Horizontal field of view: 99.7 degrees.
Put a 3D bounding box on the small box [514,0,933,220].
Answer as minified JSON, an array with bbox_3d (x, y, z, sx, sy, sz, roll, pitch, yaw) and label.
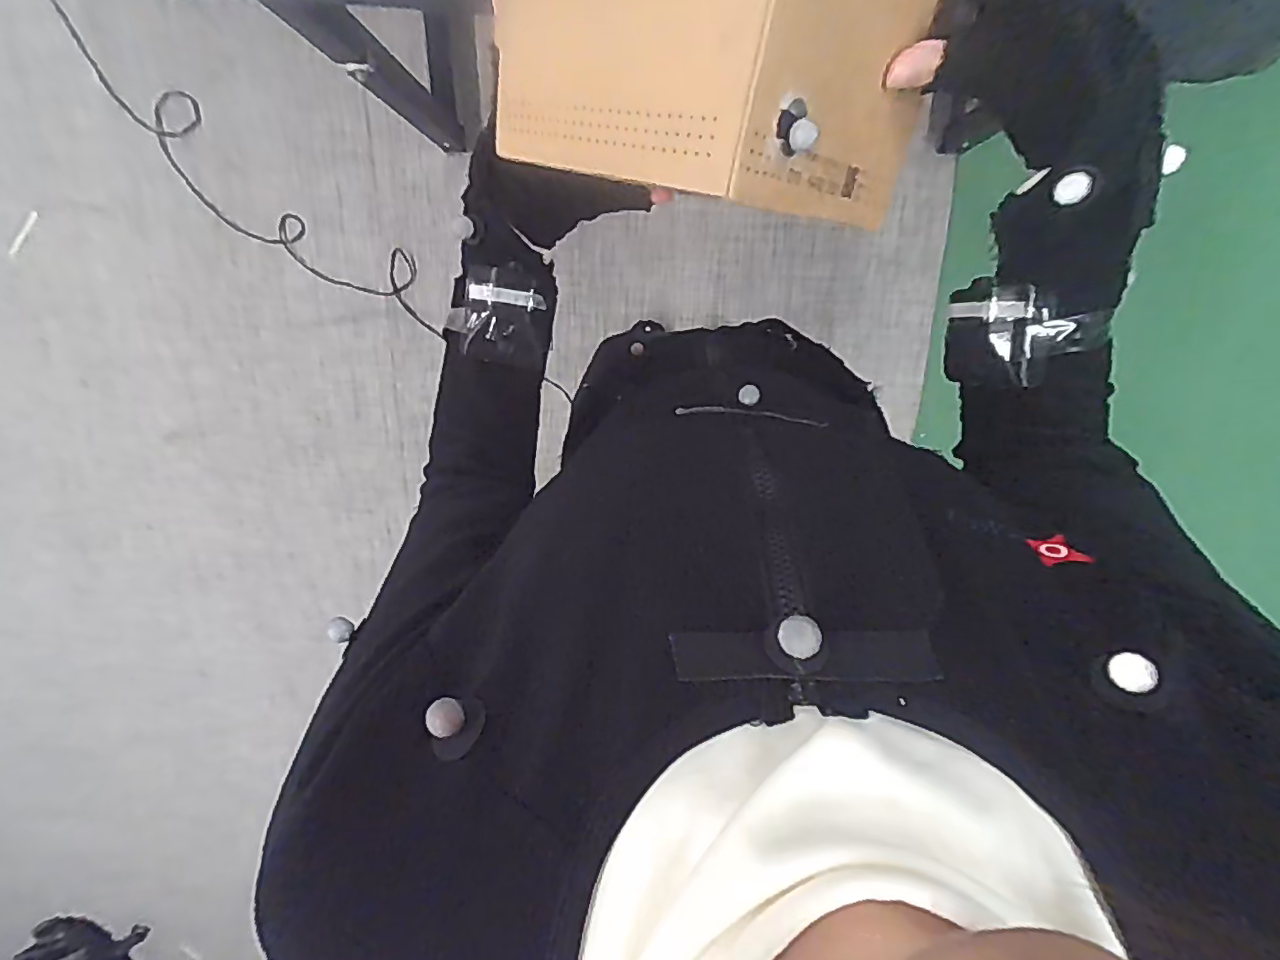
[{"bbox_3d":[0.047,-0.252,0.301,0.179,0.168,0.176,31,123,35],"label":"small box"}]
